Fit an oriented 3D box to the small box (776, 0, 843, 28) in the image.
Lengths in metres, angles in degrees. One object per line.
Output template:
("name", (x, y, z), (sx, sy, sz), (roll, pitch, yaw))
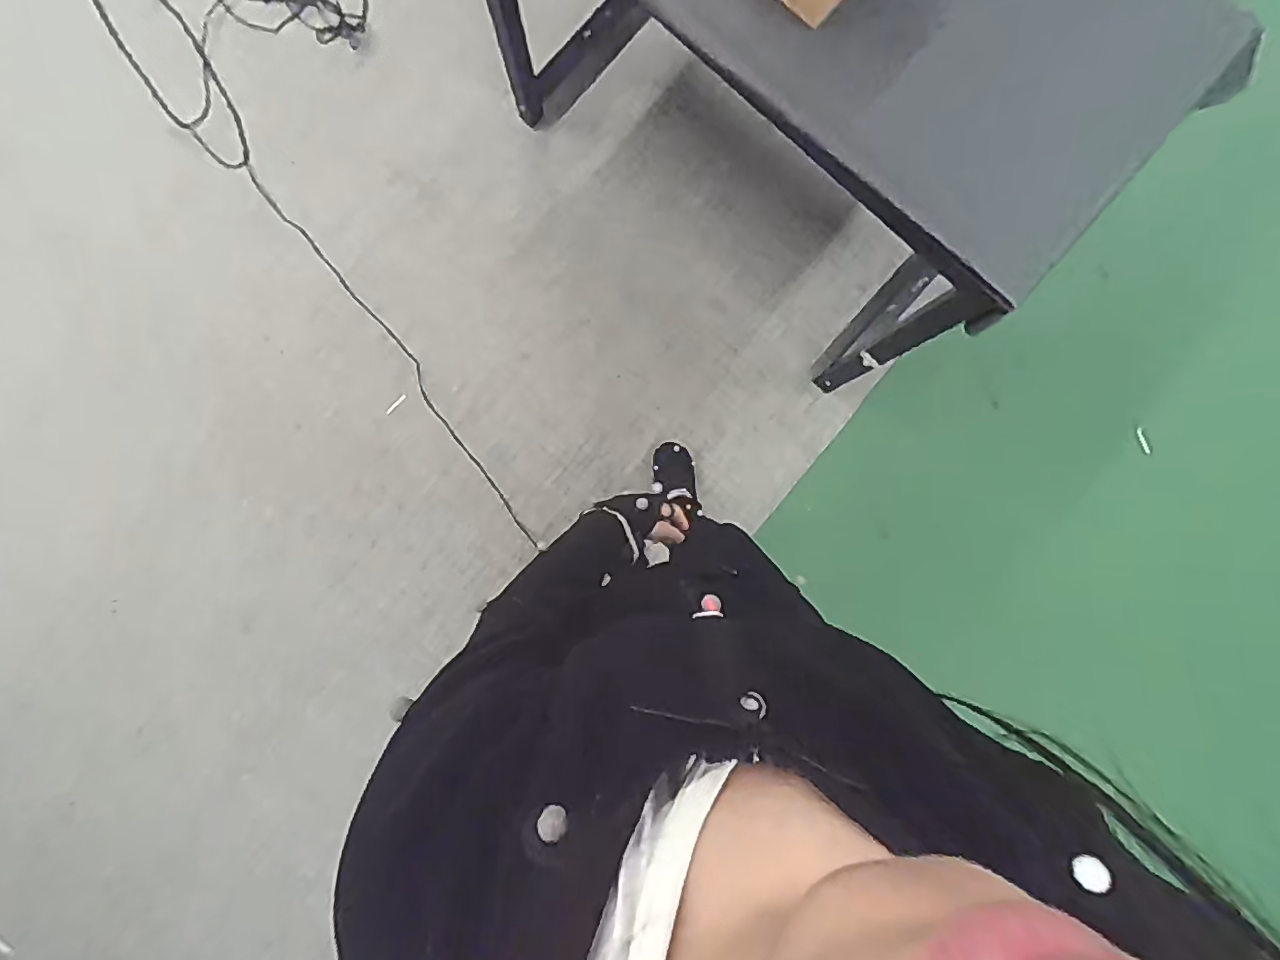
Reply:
("small box", (0.255, -0.781, 0.723), (0.168, 0.176, 0.179), (41, 87, 0))
